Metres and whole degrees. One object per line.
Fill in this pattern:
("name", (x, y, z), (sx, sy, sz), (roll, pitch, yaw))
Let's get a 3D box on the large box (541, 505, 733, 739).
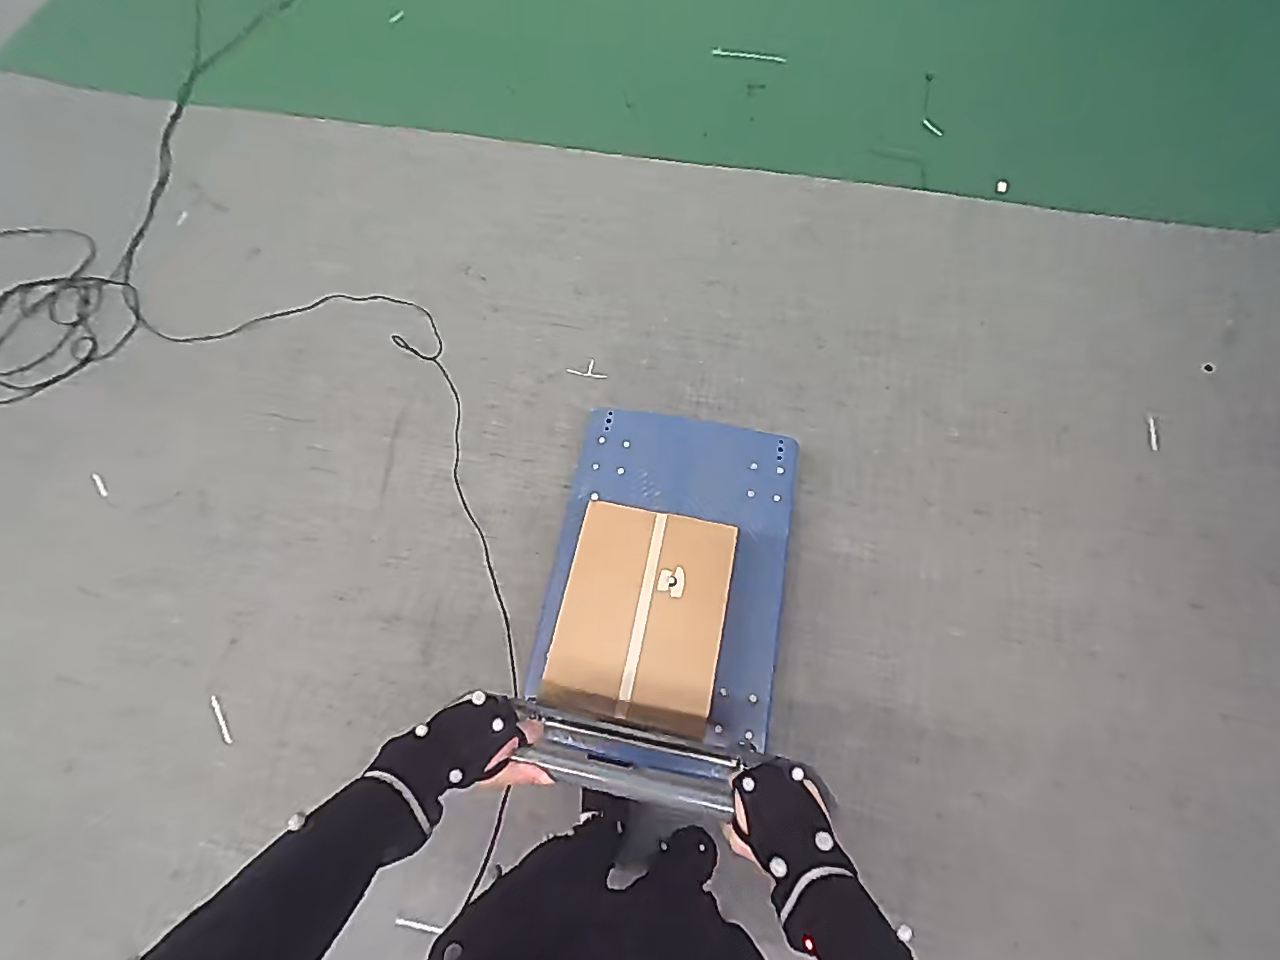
("large box", (0.009, 0.315, 1.183), (0.320, 0.320, 0.408), (11, 68, 6))
